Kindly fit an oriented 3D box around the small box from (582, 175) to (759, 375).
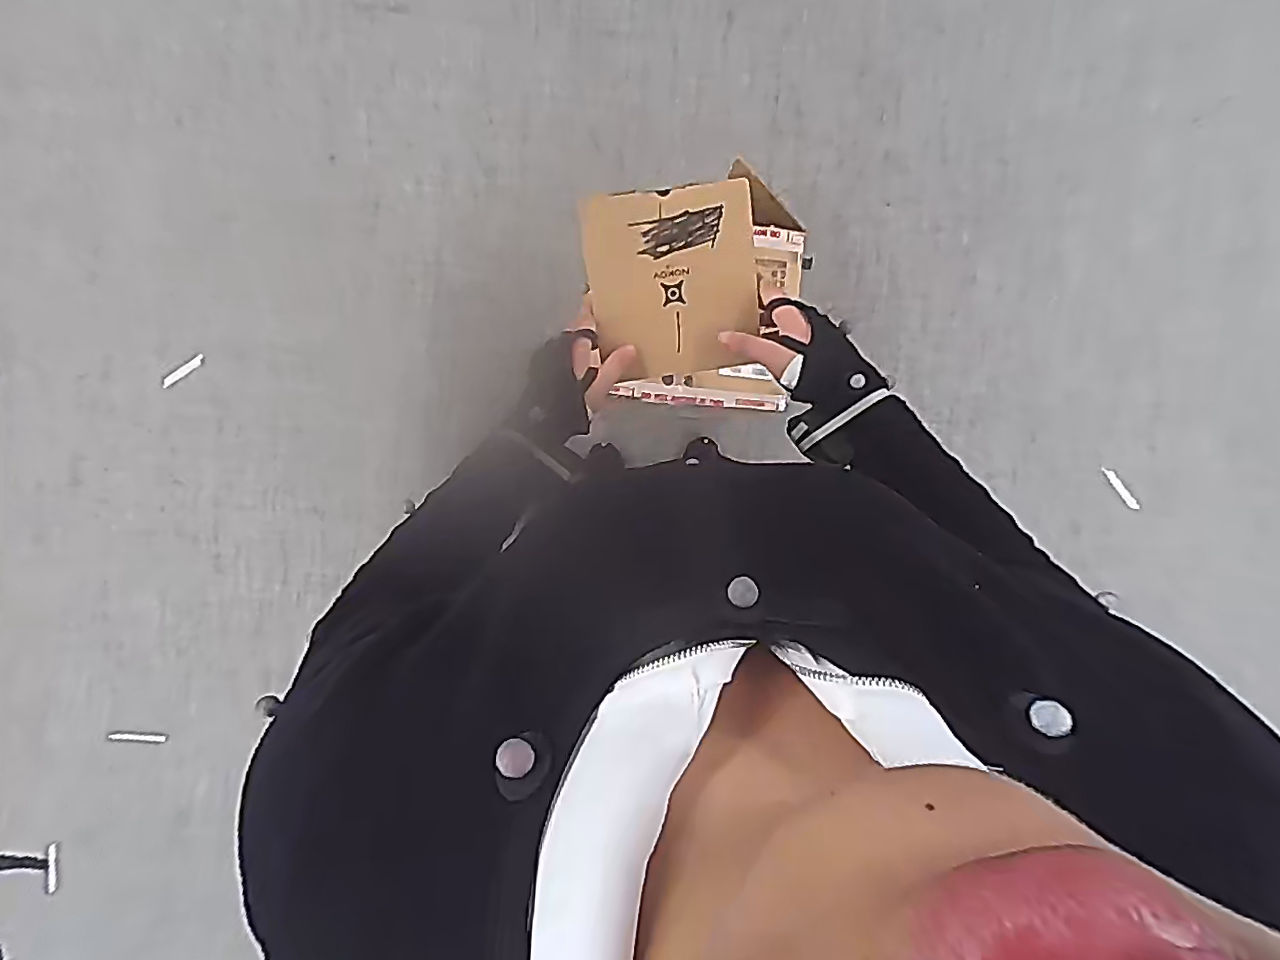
[{"bbox_3d":[0.028,-0.215,0.609,0.168,0.176,0.179,-7,103,-1],"label":"small box"}]
